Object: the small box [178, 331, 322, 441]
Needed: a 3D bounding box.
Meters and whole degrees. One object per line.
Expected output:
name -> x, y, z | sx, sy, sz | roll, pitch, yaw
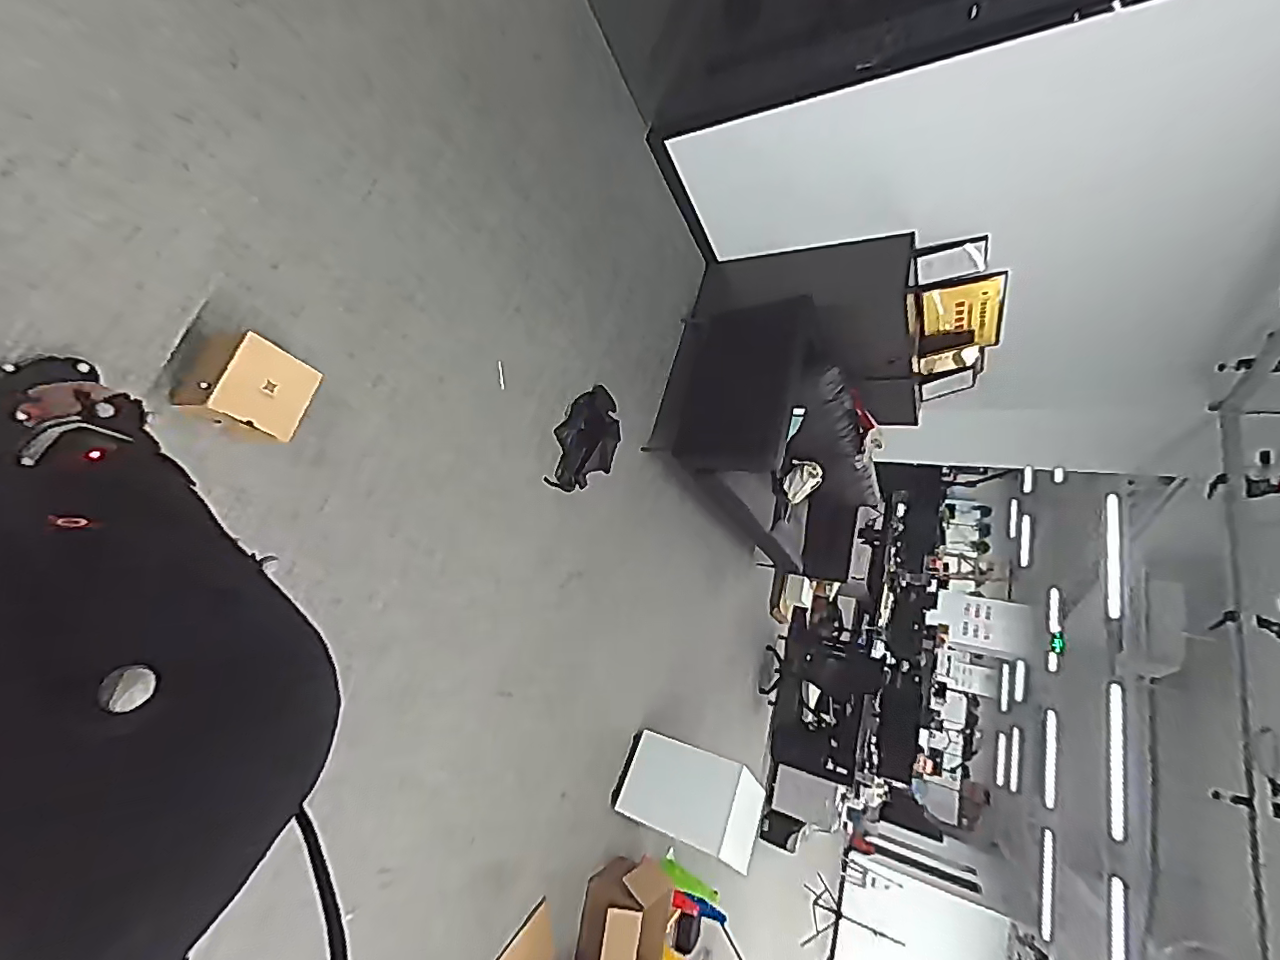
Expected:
small box -> -0.839, -0.199, 1.164 | 0.168, 0.176, 0.179 | 41, 60, -54
